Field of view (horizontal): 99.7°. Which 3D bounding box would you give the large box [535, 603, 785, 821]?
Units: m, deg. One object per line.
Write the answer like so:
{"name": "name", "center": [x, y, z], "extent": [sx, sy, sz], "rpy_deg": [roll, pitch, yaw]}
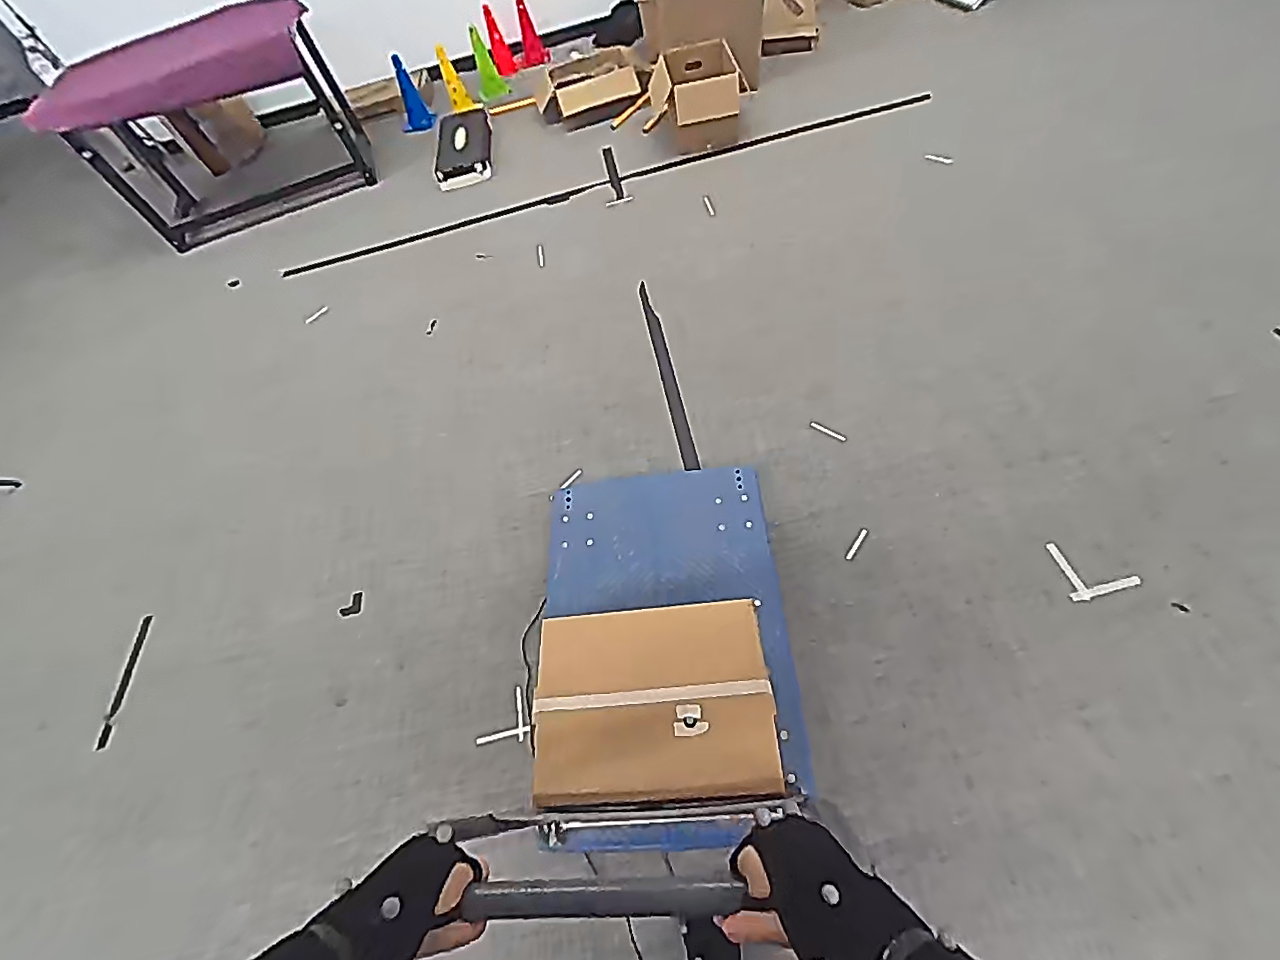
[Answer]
{"name": "large box", "center": [0.039, 0.459, 1.042], "extent": [0.408, 0.320, 0.320], "rpy_deg": [-8, 57, 6]}
